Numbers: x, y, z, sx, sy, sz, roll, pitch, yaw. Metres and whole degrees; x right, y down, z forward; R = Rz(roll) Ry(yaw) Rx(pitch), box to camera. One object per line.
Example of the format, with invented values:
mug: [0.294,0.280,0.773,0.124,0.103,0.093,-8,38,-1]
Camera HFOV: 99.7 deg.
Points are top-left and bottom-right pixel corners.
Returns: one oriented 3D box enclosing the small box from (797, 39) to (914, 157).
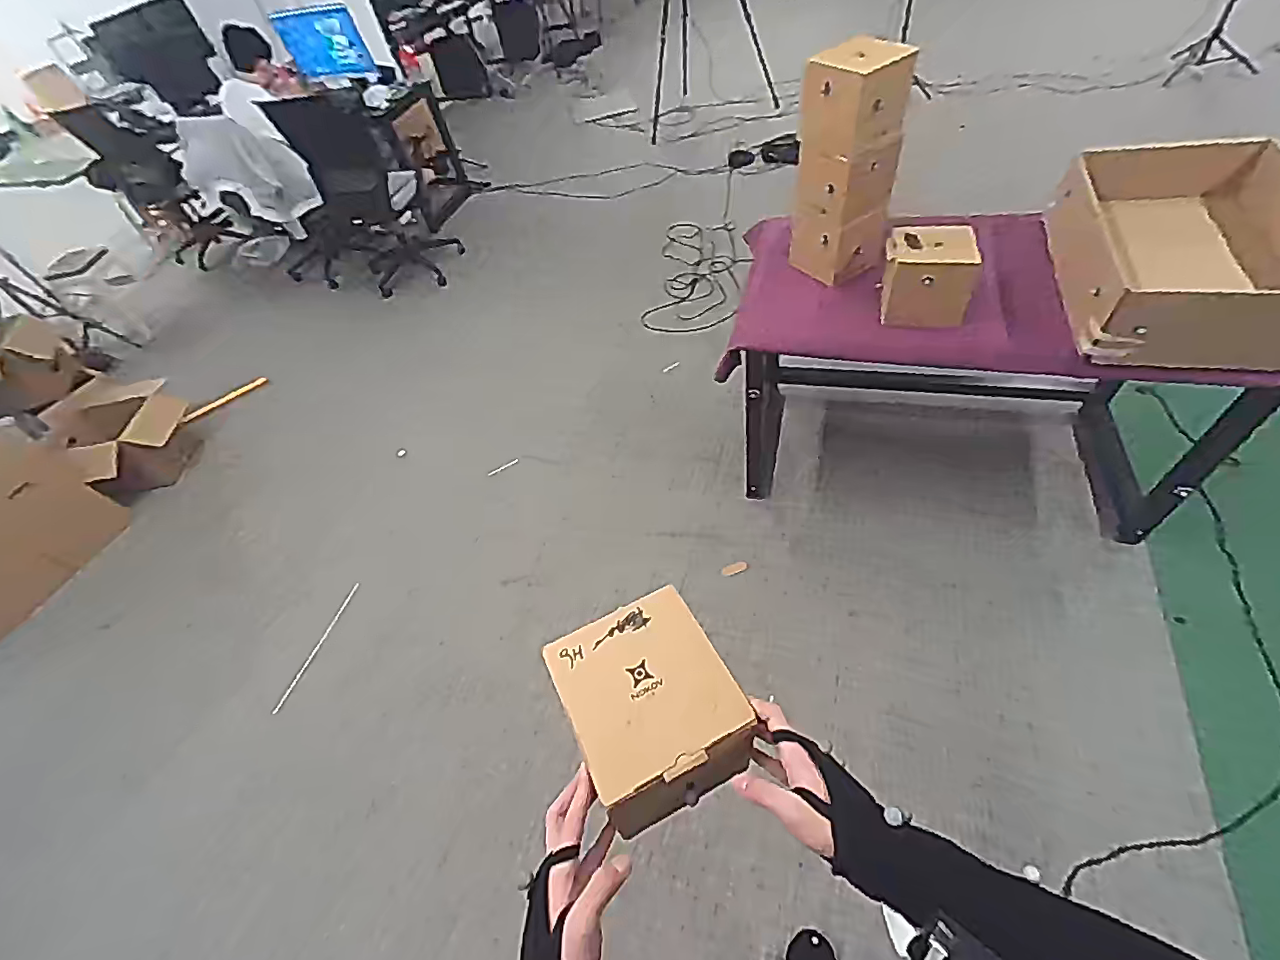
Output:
small box: [0.481,-0.866,1.235,0.168,0.176,0.179,-32,54,-14]

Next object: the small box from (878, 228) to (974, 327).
small box: [0.682,-0.488,1.314,0.179,0.176,0.168,6,52,15]

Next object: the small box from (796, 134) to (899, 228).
small box: [0.509,-0.765,1.359,0.179,0.176,0.168,-30,54,-13]

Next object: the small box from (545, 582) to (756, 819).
small box: [0.011,0.255,0.612,0.168,0.176,0.179,-22,51,-14]

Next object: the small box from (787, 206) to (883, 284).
small box: [0.527,-0.663,1.484,0.168,0.176,0.179,-30,53,-14]
